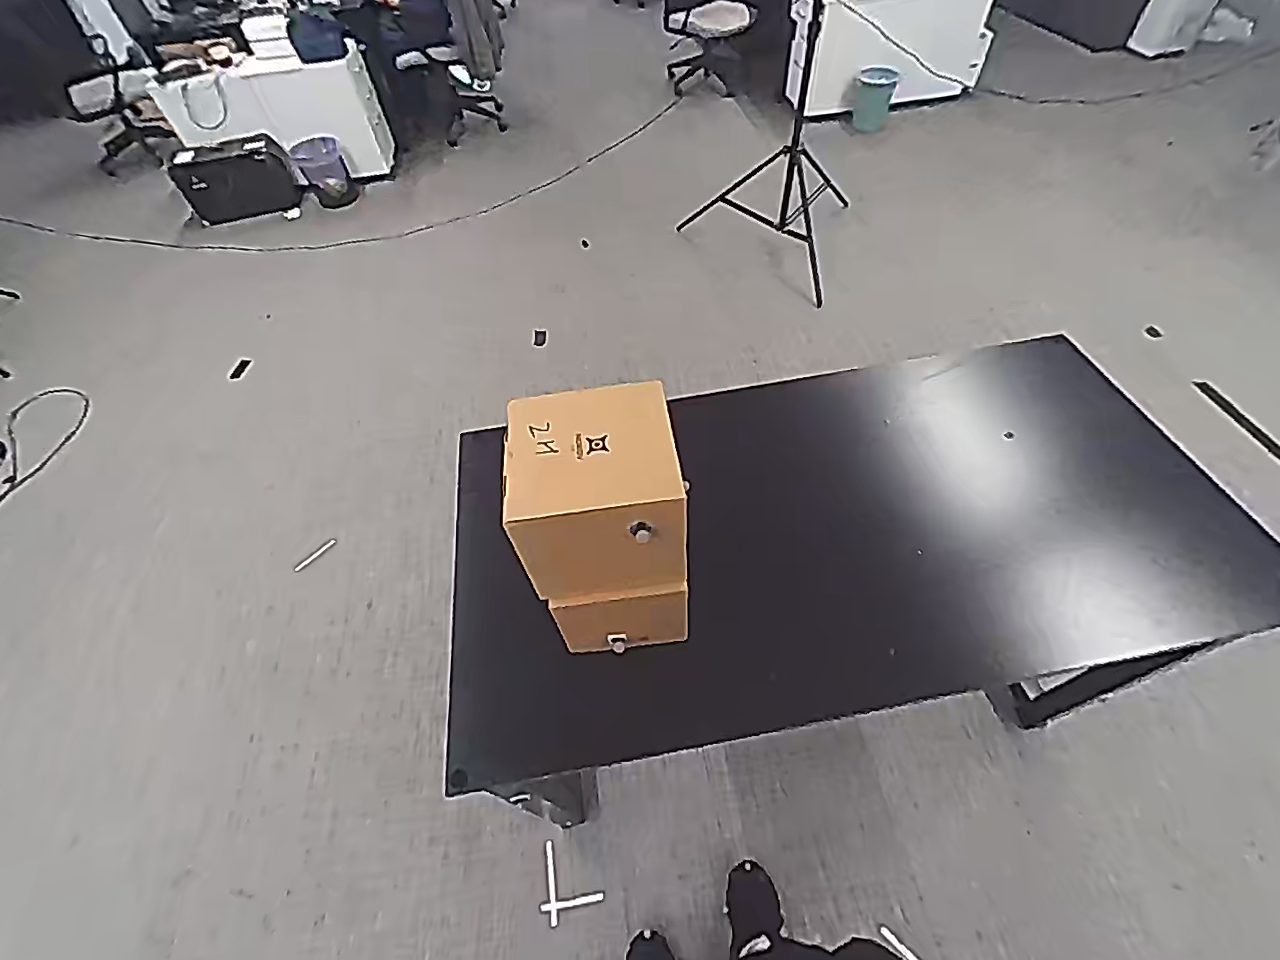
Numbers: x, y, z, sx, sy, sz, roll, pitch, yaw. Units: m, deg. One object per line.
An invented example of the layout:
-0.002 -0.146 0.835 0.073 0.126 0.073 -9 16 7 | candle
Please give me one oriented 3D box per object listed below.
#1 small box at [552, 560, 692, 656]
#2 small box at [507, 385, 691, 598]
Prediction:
-0.025 0.121 0.742 0.168 0.176 0.179 -8 54 0 | small box
-0.041 0.018 0.614 0.179 0.176 0.168 -8 52 0 | small box
